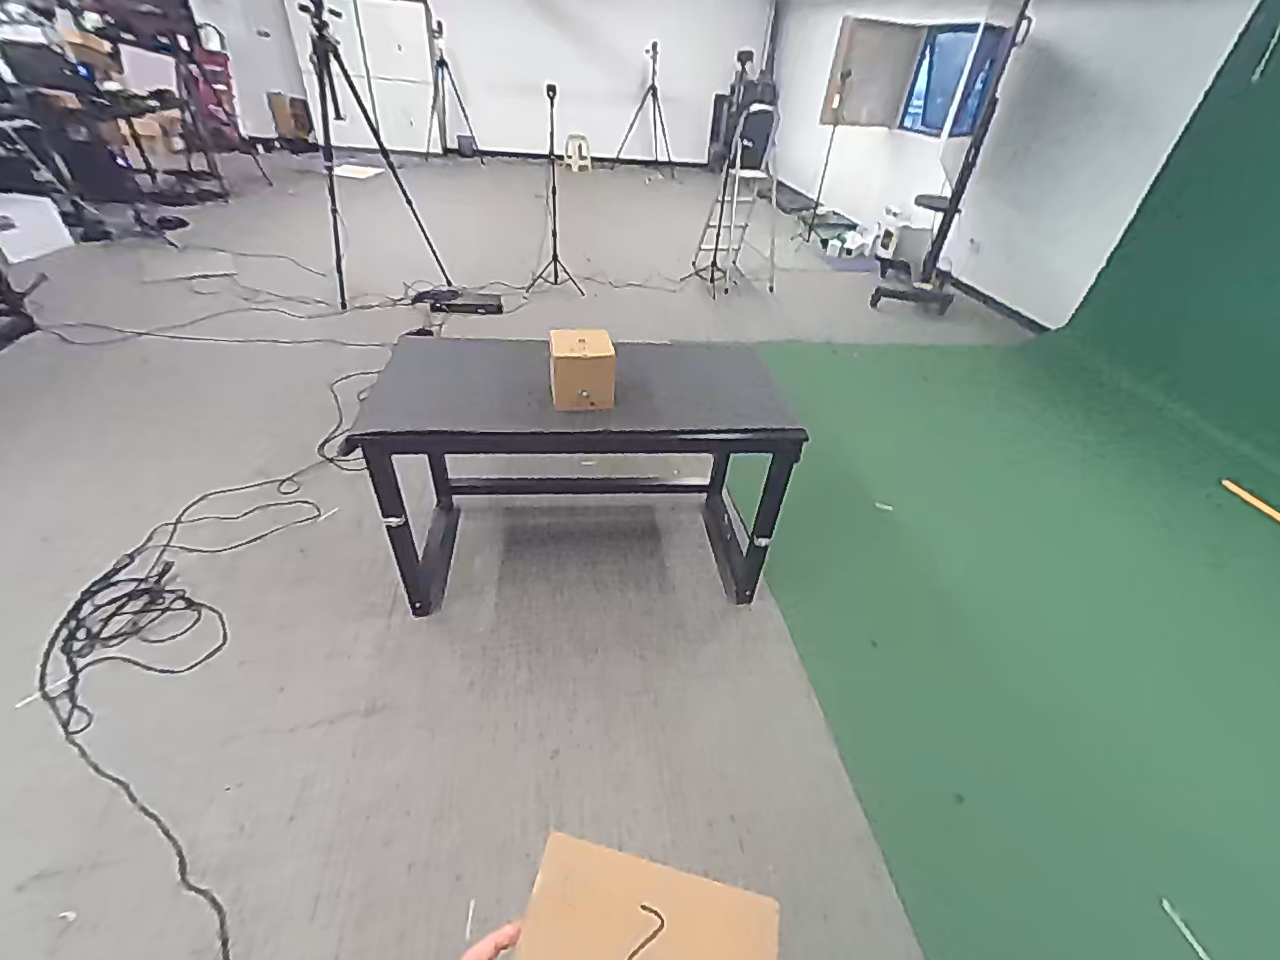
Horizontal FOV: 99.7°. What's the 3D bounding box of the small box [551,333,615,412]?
[{"bbox_3d":[-0.167,-0.306,1.534,0.168,0.176,0.179,-4,37,-11],"label":"small box"}]
